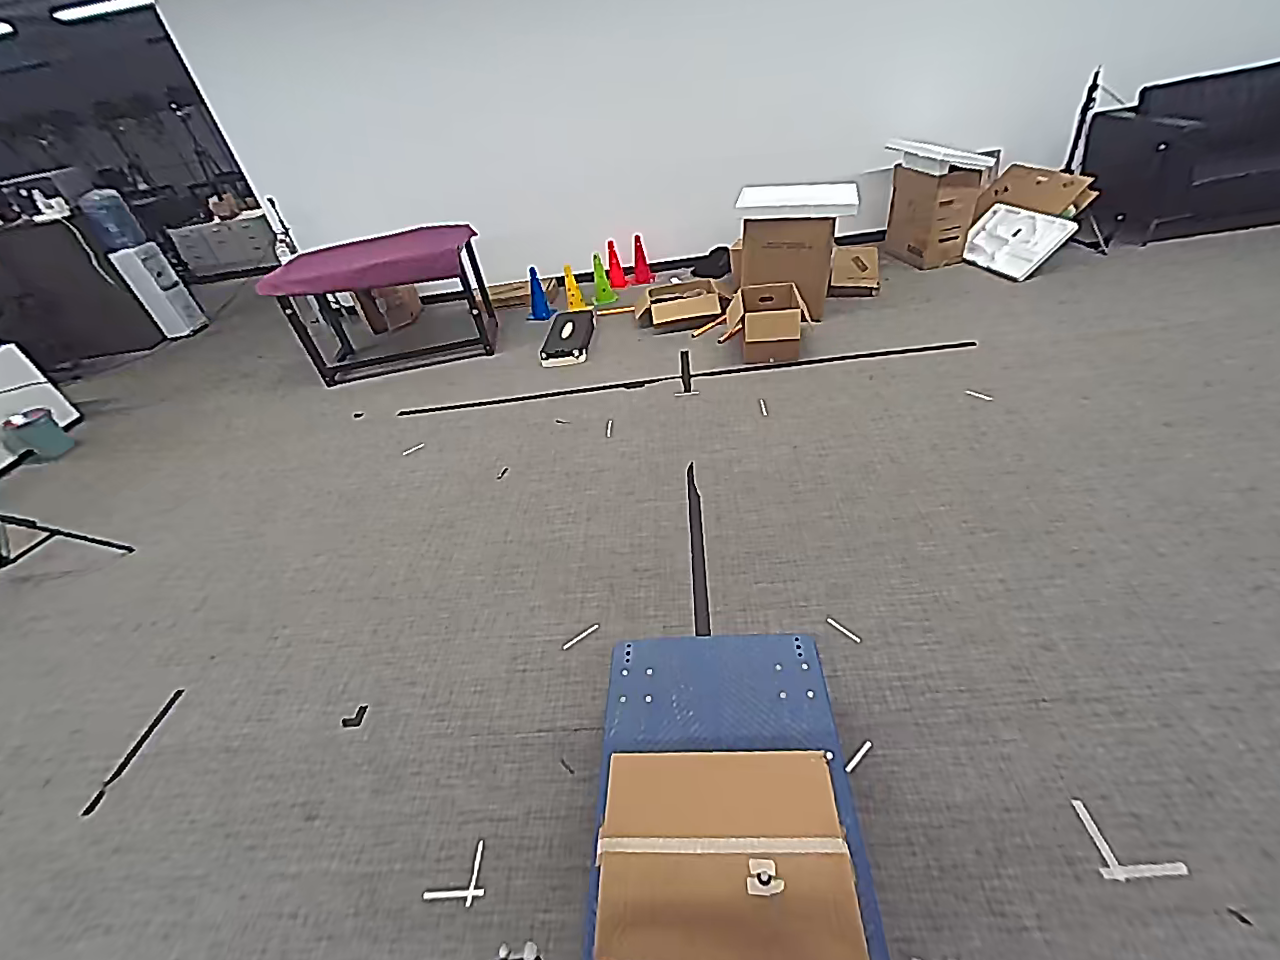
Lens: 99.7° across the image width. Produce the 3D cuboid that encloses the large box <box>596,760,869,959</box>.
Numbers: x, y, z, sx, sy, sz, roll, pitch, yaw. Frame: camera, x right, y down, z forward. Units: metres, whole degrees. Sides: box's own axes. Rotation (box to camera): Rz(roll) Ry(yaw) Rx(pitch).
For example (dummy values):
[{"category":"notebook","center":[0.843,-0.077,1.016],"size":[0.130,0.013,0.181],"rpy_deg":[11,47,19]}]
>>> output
[{"category":"large box","center":[0.151,0.738,0.977],"size":[0.408,0.320,0.320],"rpy_deg":[-4,39,7]}]
